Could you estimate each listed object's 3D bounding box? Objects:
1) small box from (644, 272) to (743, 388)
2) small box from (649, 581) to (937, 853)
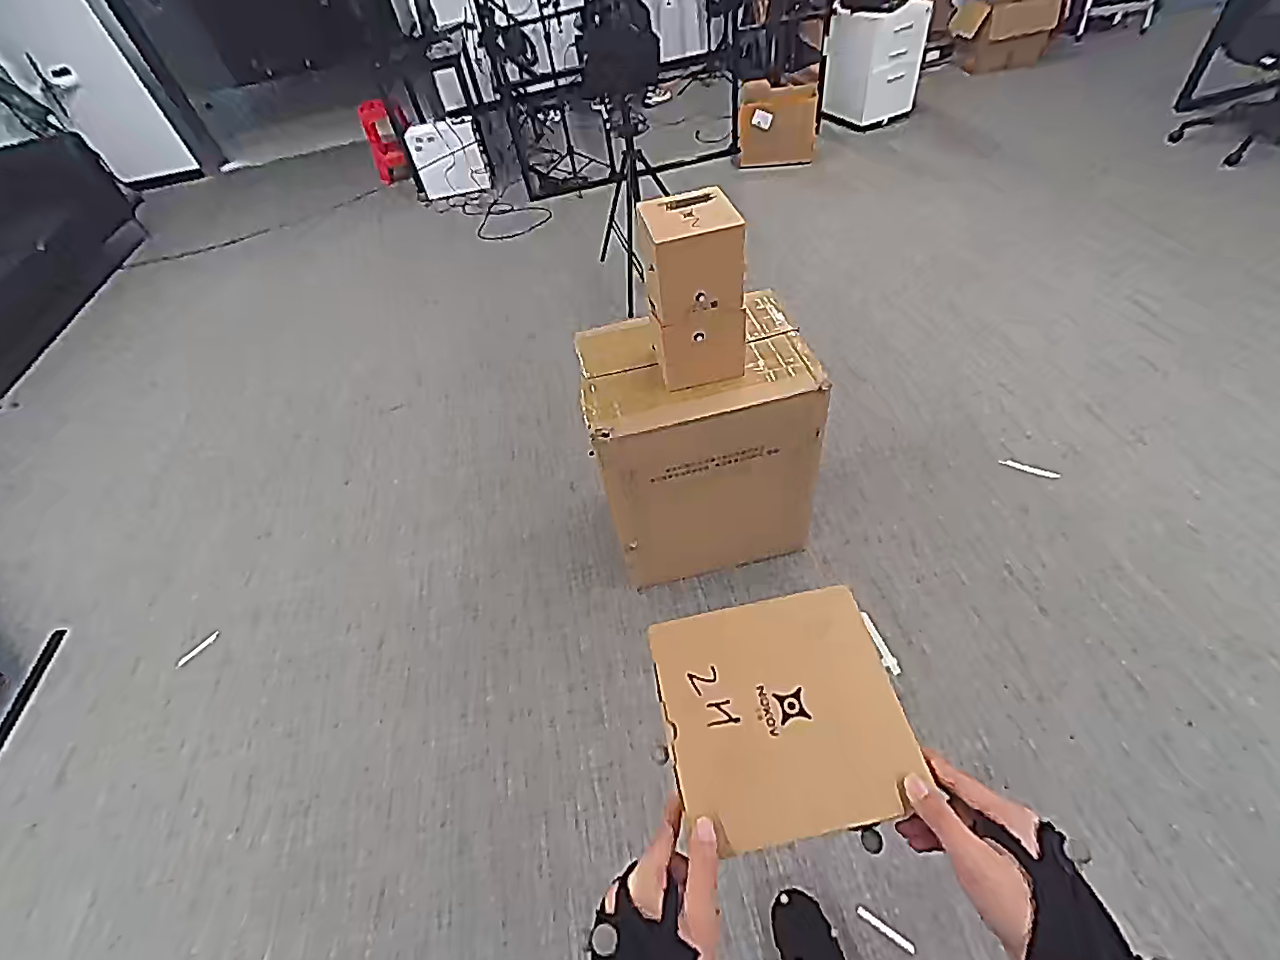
[{"bbox_3d":[0.117,-0.321,1.174,0.179,0.176,0.168,-13,49,-2],"label":"small box"},{"bbox_3d":[0.110,0.209,0.472,0.179,0.176,0.168,-11,55,-2],"label":"small box"}]
